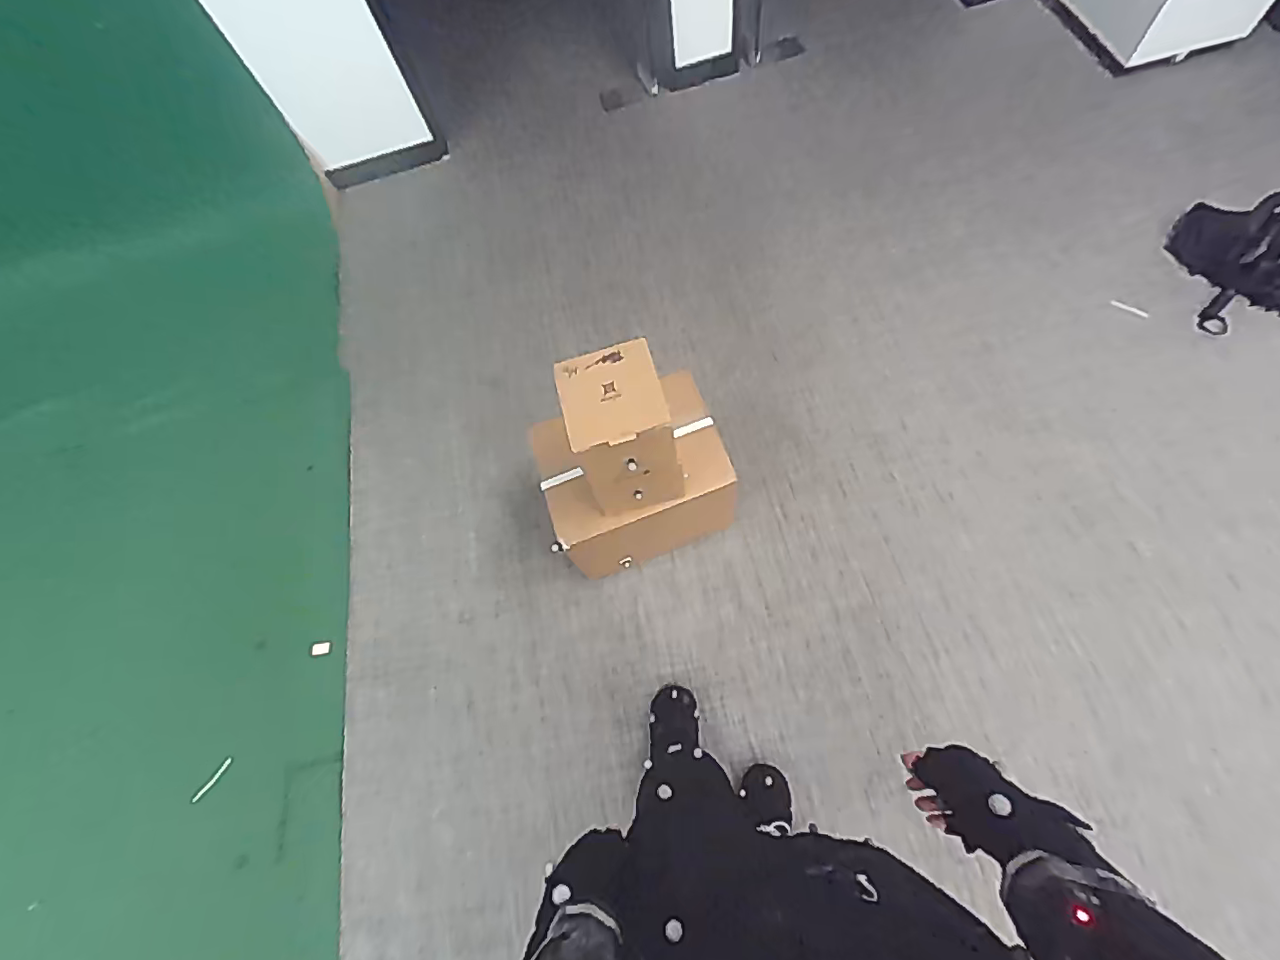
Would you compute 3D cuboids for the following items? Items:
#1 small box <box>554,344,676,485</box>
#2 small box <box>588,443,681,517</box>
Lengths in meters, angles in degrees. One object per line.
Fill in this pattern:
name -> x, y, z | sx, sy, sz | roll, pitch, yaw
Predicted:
small box -> -0.038, -0.104, 0.961 | 0.168, 0.176, 0.179 | -16, 67, 1
small box -> -0.016, -0.041, 1.111 | 0.179, 0.176, 0.168 | -16, 66, 2
